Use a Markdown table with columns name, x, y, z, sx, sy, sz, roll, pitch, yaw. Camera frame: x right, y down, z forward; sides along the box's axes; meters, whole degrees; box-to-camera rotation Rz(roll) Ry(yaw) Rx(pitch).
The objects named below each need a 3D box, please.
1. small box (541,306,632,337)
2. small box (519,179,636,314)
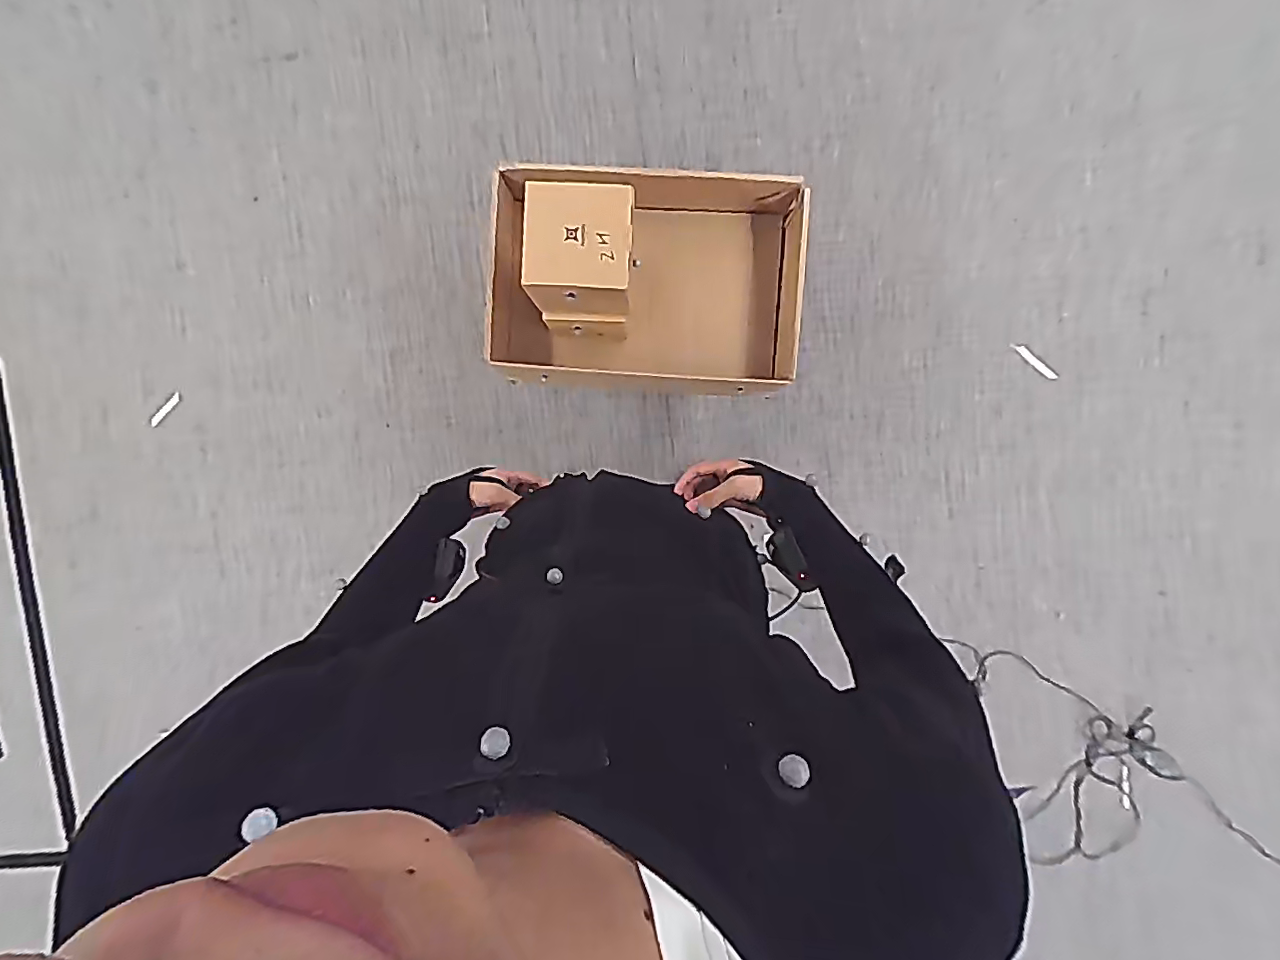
| name | x | y | z | sx | sy | sz | roll | pitch | yaw |
| --- | --- | --- | --- | --- | --- | --- | --- | --- | --- |
| small box | -0.101 | -0.394 | 1.100 | 0.168 | 0.176 | 0.179 | 2 | 93 | 0 |
| small box | -0.100 | -0.393 | 0.936 | 0.179 | 0.176 | 0.168 | 4 | 93 | 0 |
